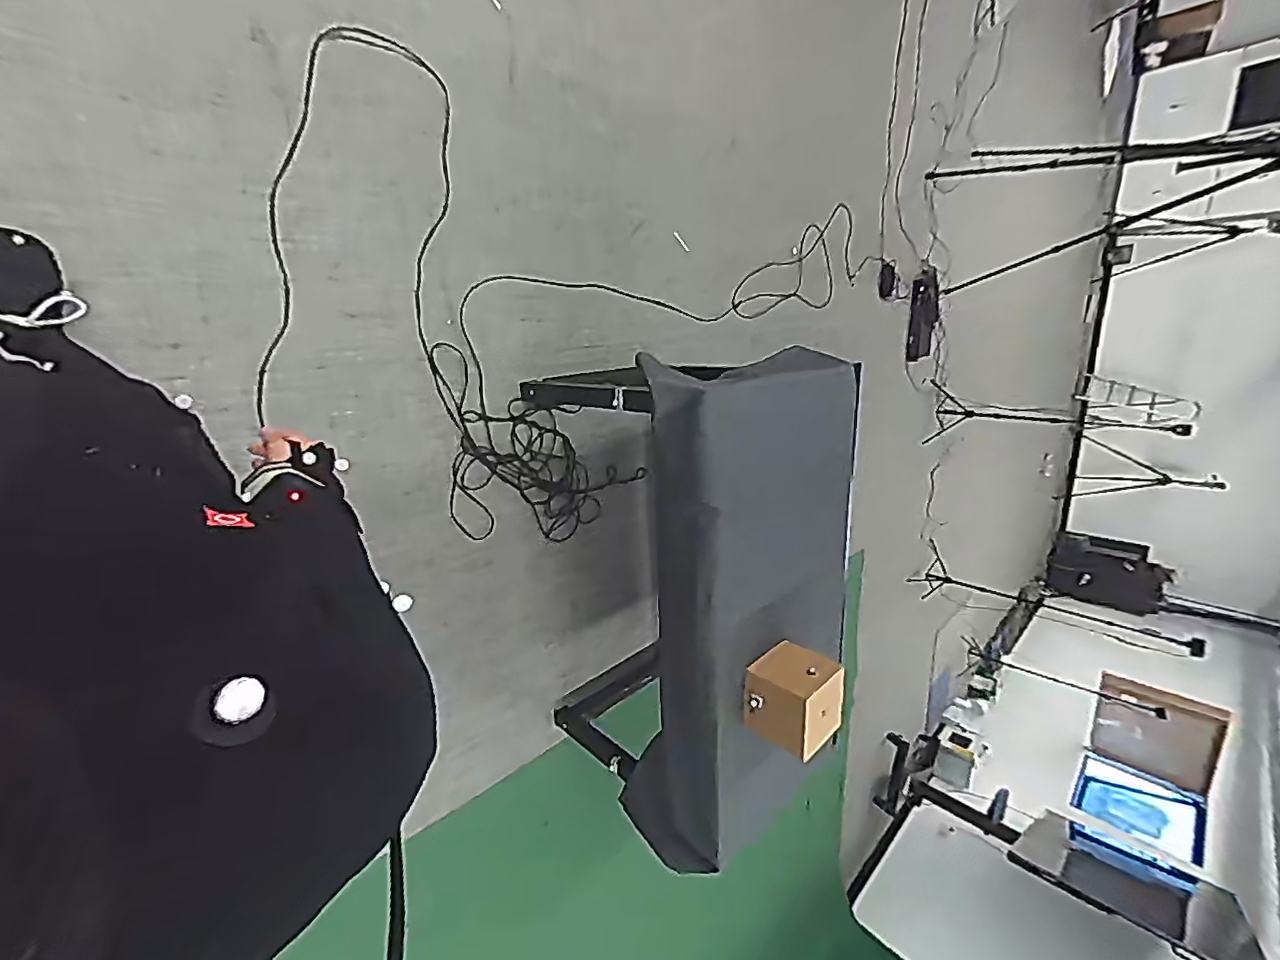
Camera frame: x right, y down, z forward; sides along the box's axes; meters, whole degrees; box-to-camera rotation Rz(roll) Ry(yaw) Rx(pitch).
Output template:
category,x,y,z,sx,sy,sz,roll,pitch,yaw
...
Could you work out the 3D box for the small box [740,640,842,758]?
category,x,y,z,sx,sy,sz,roll,pitch,yaw
small box,0.361,0.512,1.295,0.179,0.176,0.168,-15,110,-40
